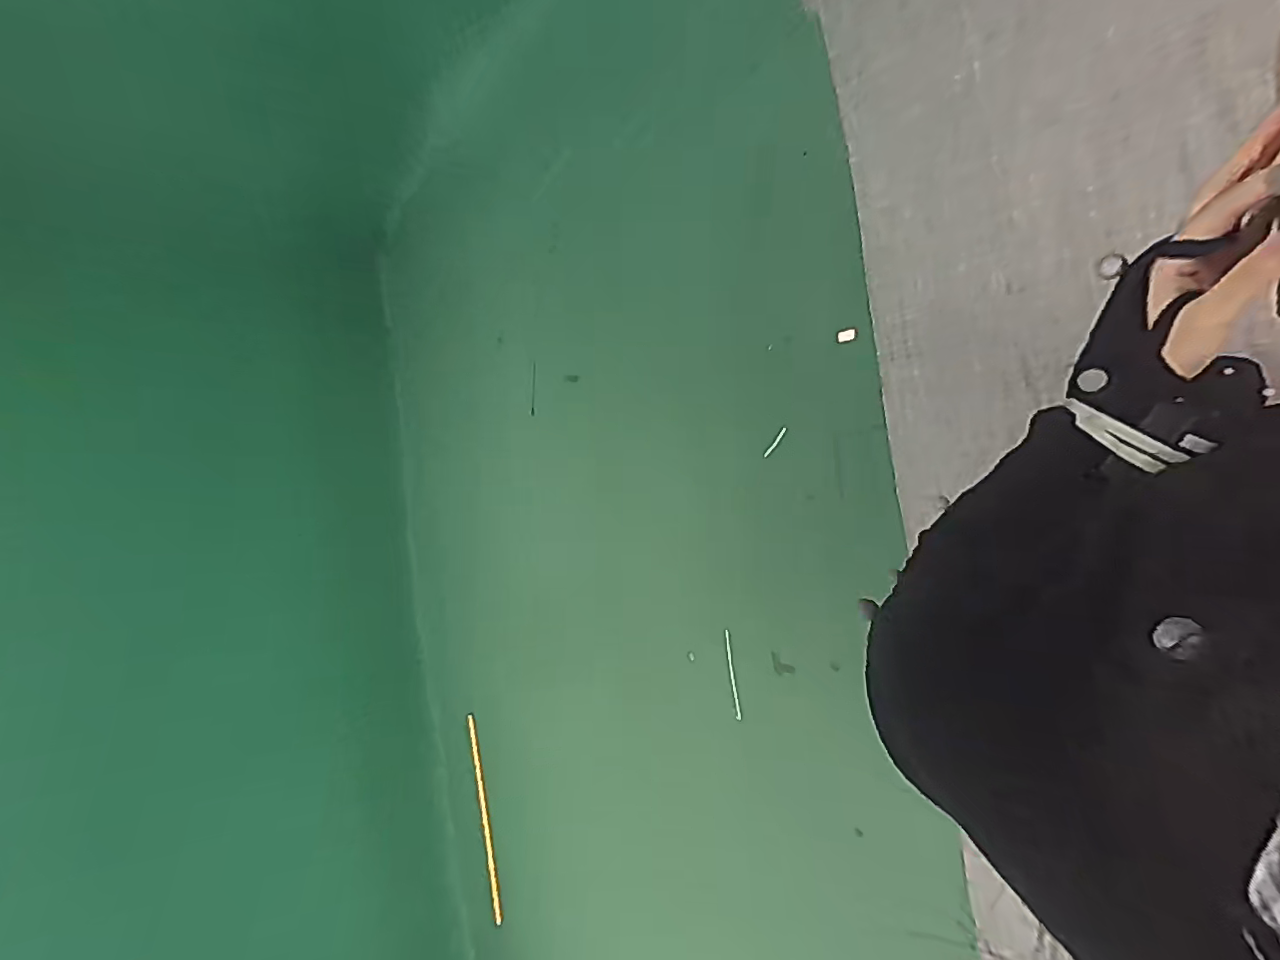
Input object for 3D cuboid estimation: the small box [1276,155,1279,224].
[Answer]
[{"bbox_3d":[0.422,-0.198,0.239,0.168,0.176,0.179,0,89,44],"label":"small box"}]
